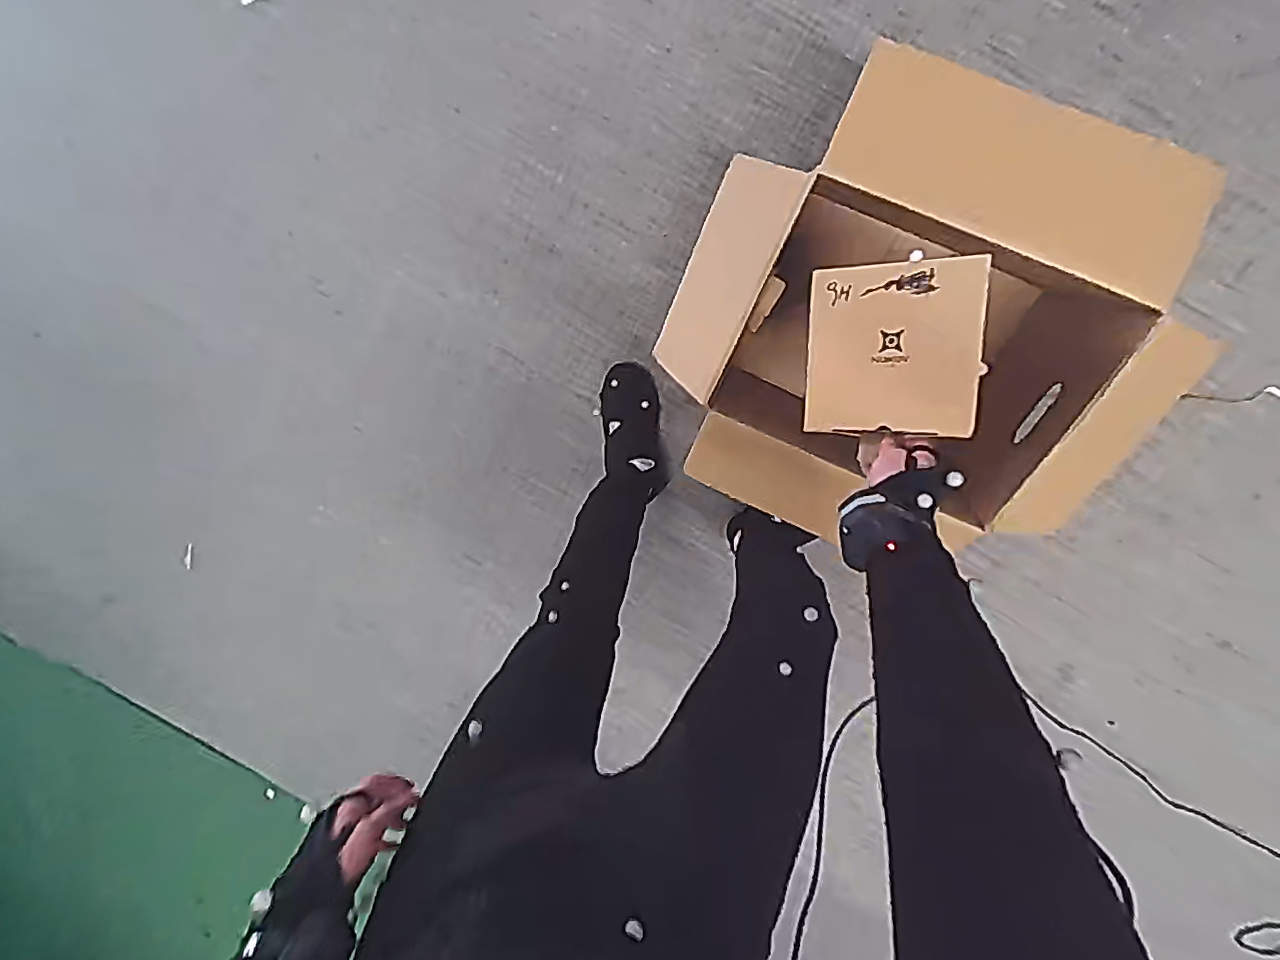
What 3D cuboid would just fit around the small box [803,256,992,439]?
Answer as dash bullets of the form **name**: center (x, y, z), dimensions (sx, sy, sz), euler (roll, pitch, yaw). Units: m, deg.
- **small box**: center (0.295, -0.143, 0.628), dimensions (0.168, 0.176, 0.179), euler (6, 99, 27)
